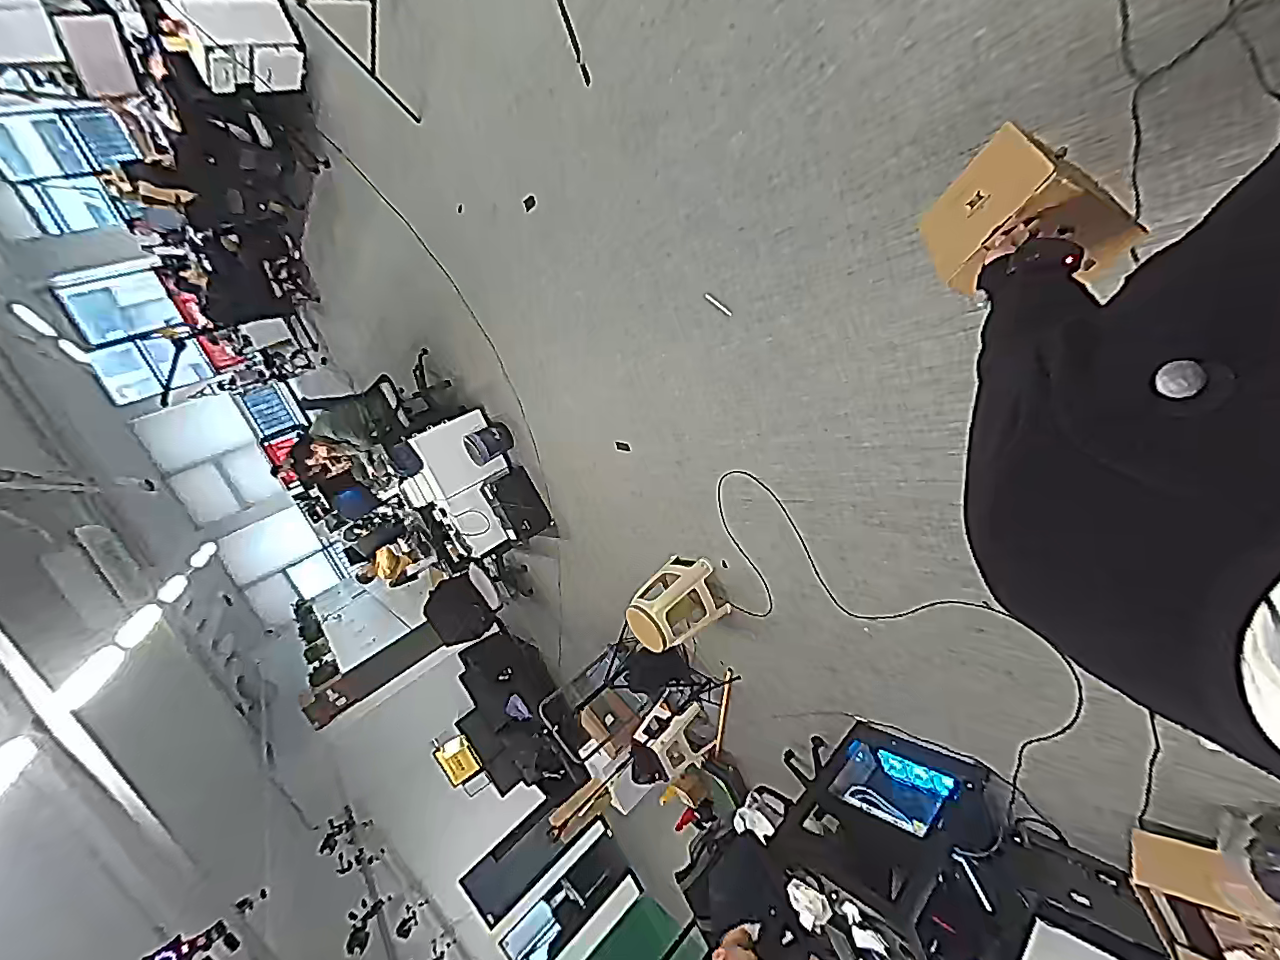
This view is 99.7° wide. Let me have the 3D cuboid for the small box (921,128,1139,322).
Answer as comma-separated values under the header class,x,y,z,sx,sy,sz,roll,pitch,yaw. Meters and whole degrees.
class,x,y,z,sx,sy,sz,roll,pitch,yaw
small box,0.546,-0.353,0.774,0.176,0.179,0.168,22,139,-15
